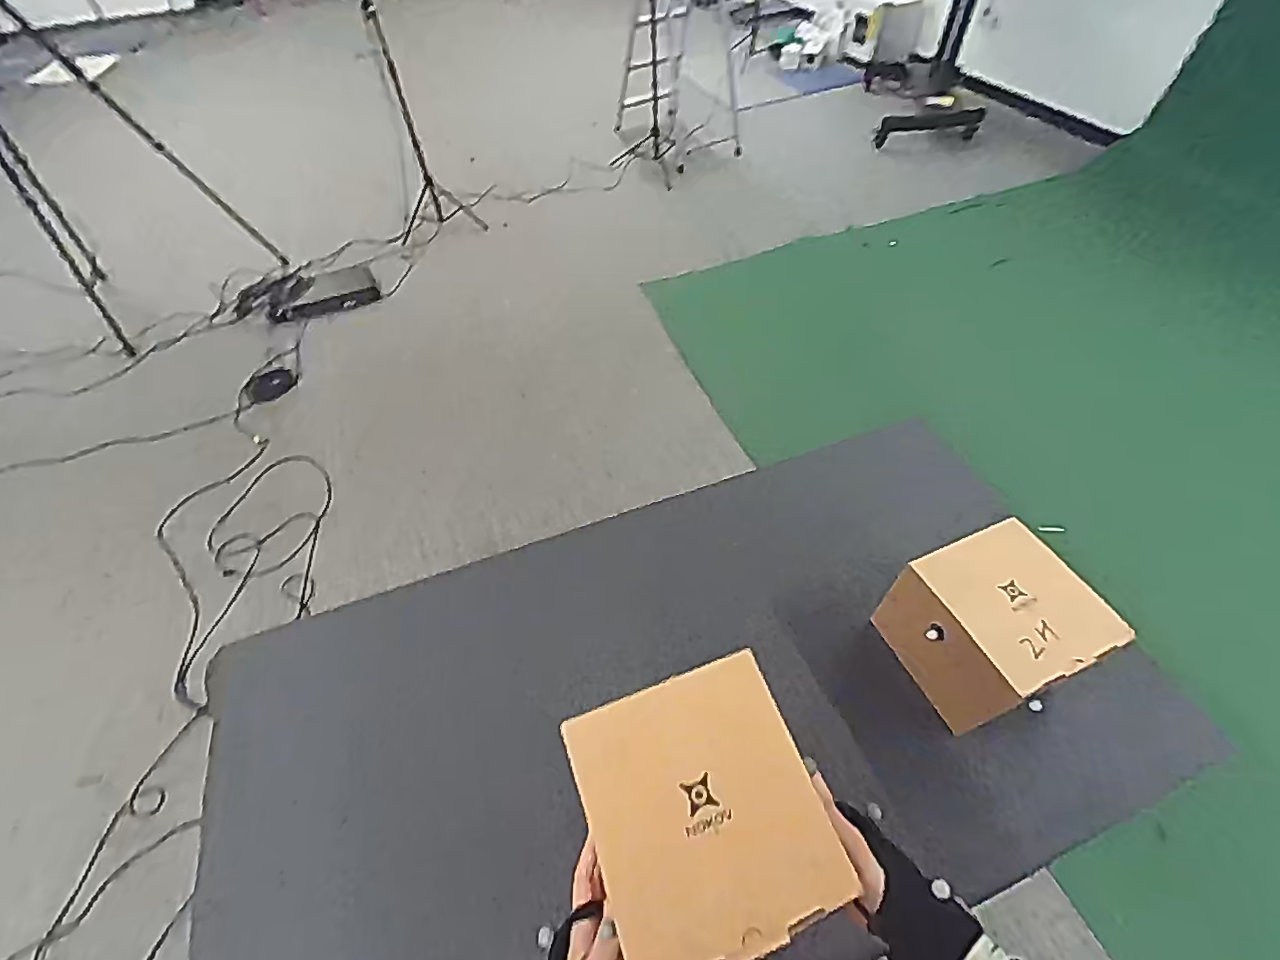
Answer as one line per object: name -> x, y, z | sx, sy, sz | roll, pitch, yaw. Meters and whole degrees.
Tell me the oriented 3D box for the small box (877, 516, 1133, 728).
small box -> 0.436, 0.182, 0.685 | 0.168, 0.176, 0.179 | -21, 54, -10
